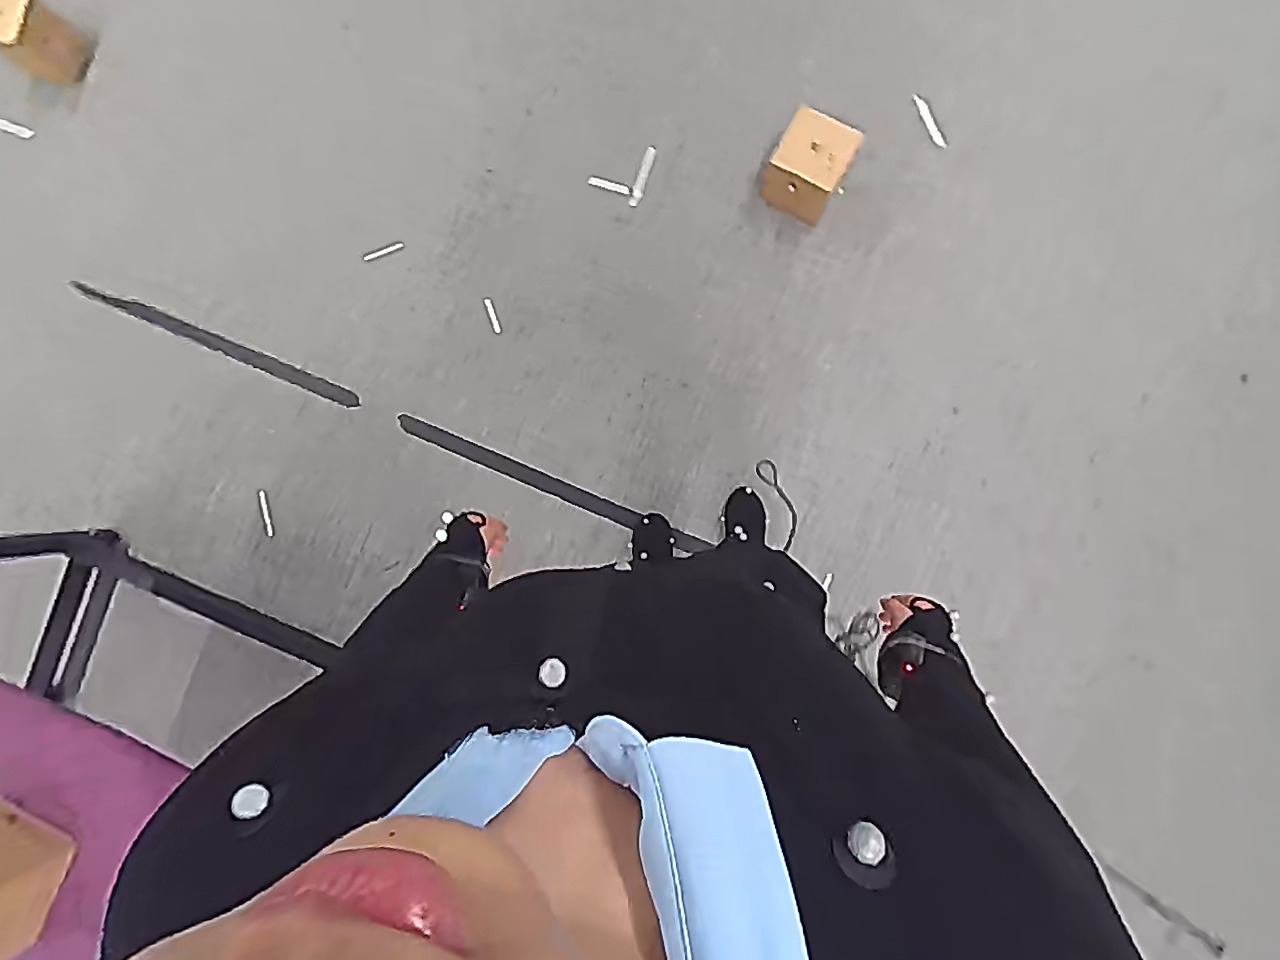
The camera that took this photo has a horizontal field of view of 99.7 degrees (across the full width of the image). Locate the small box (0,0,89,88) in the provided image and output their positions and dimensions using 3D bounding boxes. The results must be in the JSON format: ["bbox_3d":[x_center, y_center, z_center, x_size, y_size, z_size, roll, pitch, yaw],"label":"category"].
[{"bbox_3d":[-1.876,-1.357,1.670,0.179,0.176,0.168,14,90,6],"label":"small box"}]

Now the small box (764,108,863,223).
[{"bbox_3d":[0.443,-0.812,1.417,0.179,0.176,0.168,31,92,6],"label":"small box"}]
